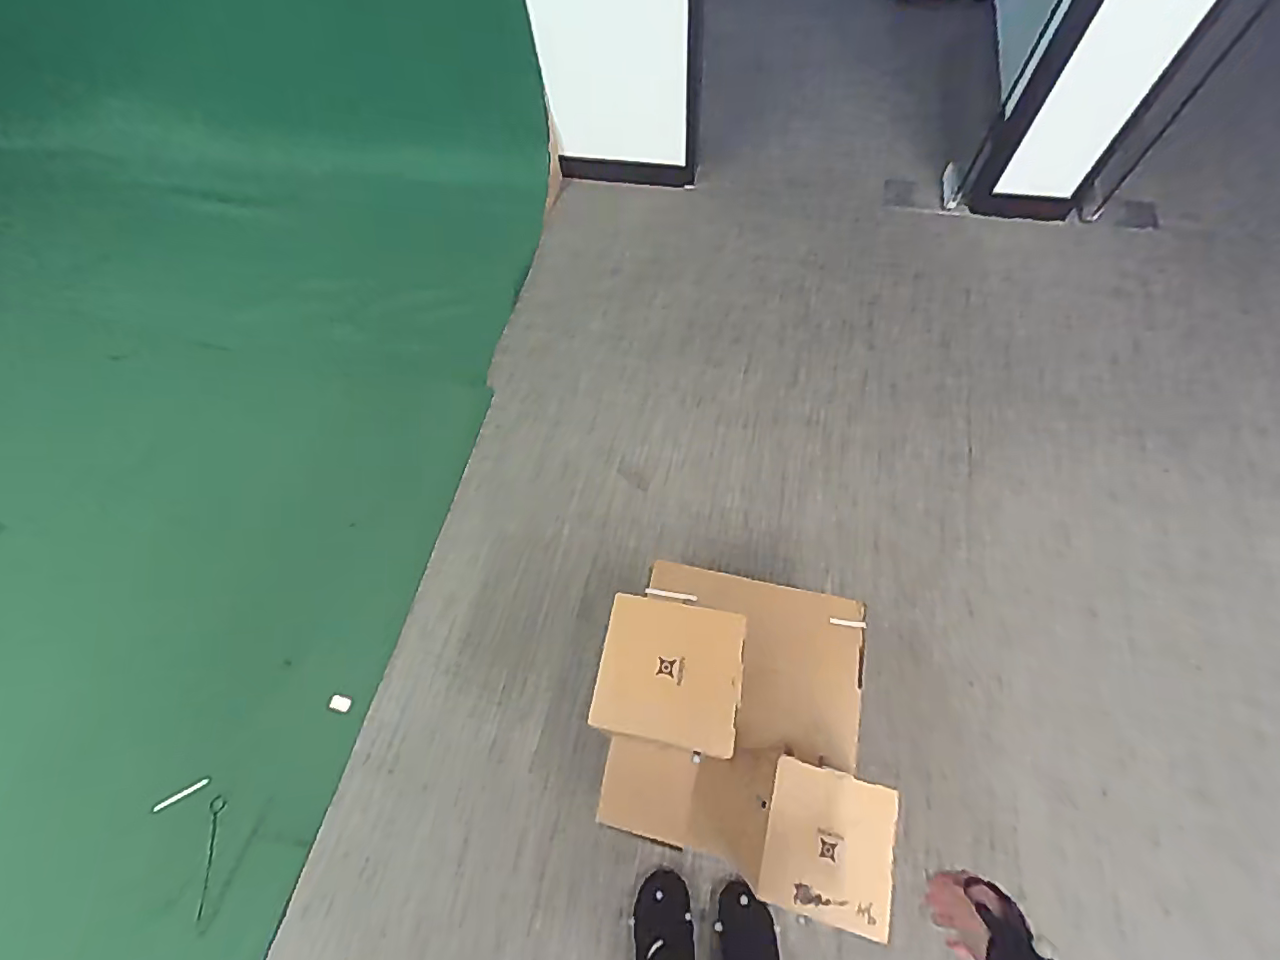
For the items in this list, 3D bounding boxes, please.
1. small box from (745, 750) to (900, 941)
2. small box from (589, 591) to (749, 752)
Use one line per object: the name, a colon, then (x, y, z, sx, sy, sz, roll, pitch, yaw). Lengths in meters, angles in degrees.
small box: (0.256, 0.509, 0.784, 0.168, 0.176, 0.179, 14, 66, 10)
small box: (0.044, 0.267, 0.738, 0.179, 0.176, 0.168, 9, 64, 8)
